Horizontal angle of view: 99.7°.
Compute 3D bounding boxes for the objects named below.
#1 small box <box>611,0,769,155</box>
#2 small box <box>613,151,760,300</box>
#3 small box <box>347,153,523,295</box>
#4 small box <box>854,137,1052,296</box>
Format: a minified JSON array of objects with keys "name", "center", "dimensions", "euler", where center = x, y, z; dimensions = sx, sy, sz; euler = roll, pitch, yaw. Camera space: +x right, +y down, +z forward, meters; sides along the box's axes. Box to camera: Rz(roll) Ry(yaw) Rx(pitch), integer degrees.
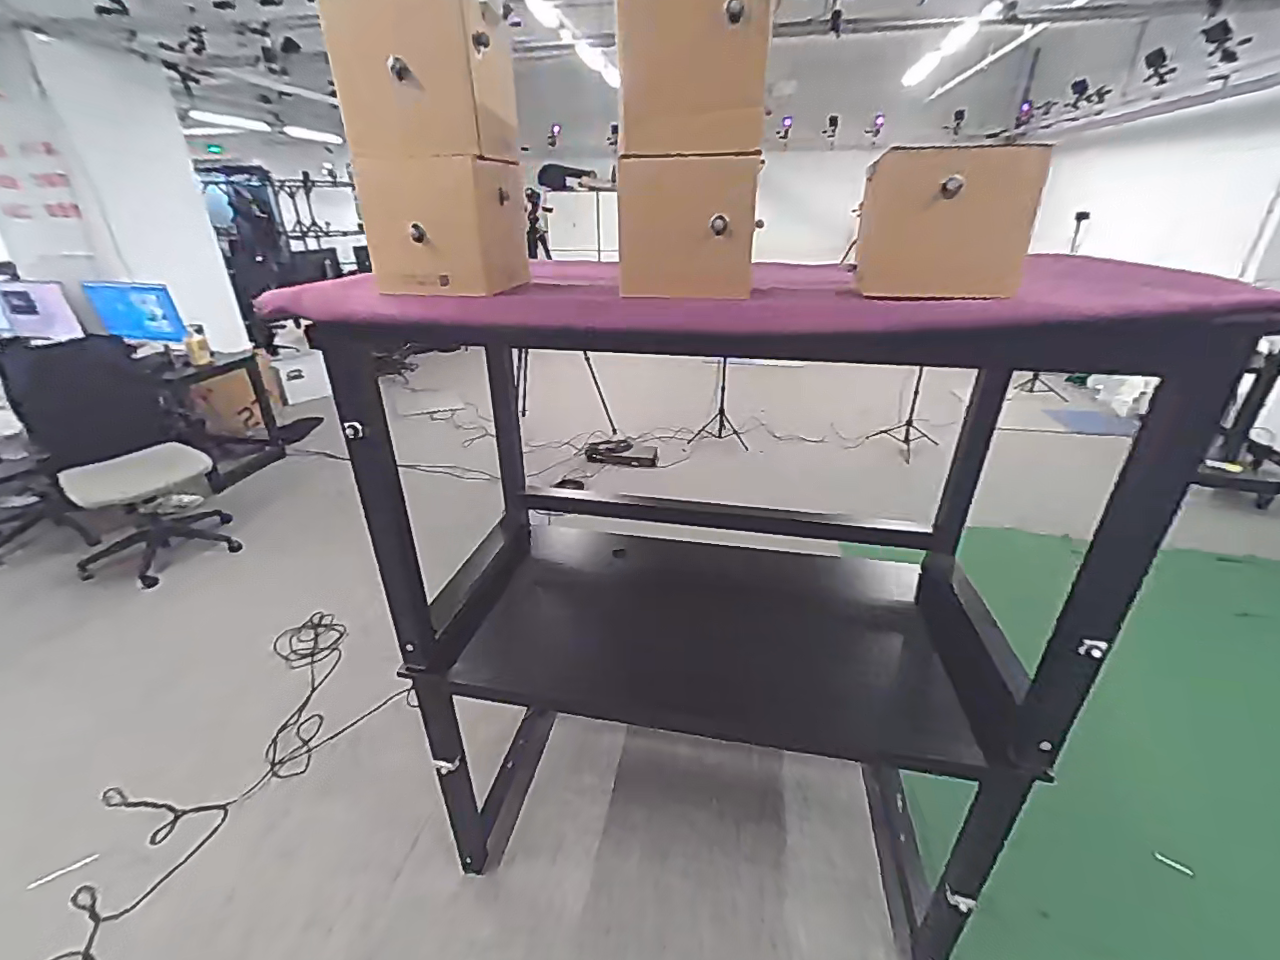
[{"name":"small box","center":[0.064,-0.495,0.676],"dimensions":[0.179,0.176,0.168],"euler":[3,26,7]},{"name":"small box","center":[0.067,-0.347,0.746],"dimensions":[0.179,0.176,0.168],"euler":[3,26,9]},{"name":"small box","center":[-0.274,-0.364,0.774],"dimensions":[0.168,0.176,0.179],"euler":[5,28,7]},{"name":"small box","center":[0.388,-0.336,0.712],"dimensions":[0.179,0.176,0.168],"euler":[5,25,11]}]
